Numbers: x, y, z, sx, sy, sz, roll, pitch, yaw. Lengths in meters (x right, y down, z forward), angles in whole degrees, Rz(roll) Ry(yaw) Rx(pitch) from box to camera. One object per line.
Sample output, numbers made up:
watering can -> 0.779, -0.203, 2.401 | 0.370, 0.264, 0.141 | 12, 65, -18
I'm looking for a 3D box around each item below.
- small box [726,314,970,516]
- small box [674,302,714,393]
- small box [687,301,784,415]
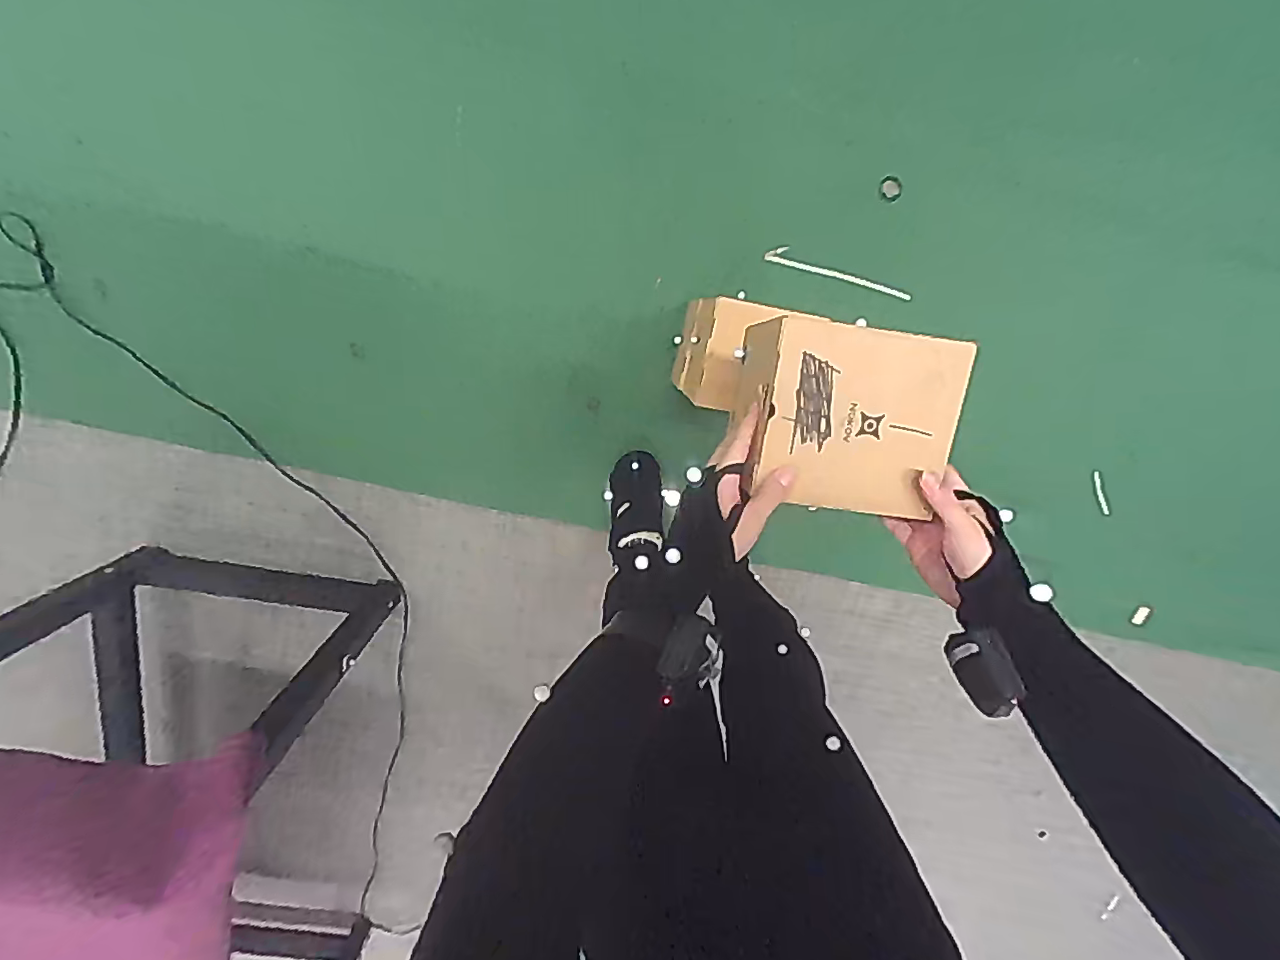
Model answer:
small box -> 0.196, -0.072, 0.570 | 0.179, 0.176, 0.168 | 7, 102, -2
small box -> 0.174, -0.245, 1.057 | 0.179, 0.176, 0.168 | 12, 106, -5
small box -> 0.185, -0.199, 0.901 | 0.179, 0.176, 0.168 | 9, 106, -4
